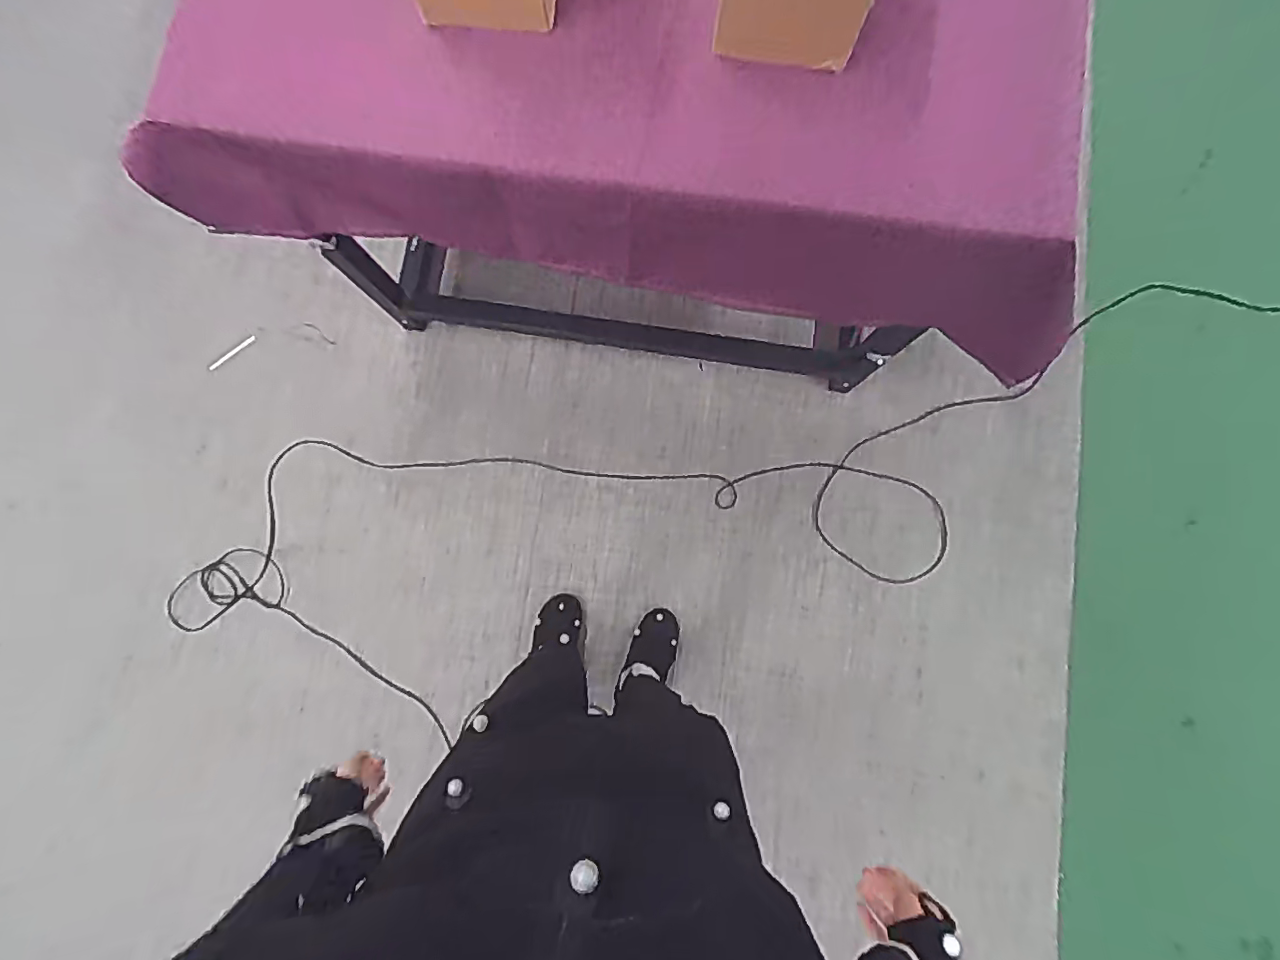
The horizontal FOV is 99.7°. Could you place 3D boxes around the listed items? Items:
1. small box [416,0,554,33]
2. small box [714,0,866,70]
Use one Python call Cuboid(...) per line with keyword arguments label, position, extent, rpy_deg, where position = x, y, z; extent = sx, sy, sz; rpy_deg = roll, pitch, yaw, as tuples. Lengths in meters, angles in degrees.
Cuboid(label="small box", position=(-0.201, -0.691, 0.656), extent=(0.179, 0.176, 0.168), rpy_deg=(4, 83, 1))
Cuboid(label="small box", position=(0.191, -0.634, 0.639), extent=(0.179, 0.176, 0.168), rpy_deg=(10, 84, 2))
